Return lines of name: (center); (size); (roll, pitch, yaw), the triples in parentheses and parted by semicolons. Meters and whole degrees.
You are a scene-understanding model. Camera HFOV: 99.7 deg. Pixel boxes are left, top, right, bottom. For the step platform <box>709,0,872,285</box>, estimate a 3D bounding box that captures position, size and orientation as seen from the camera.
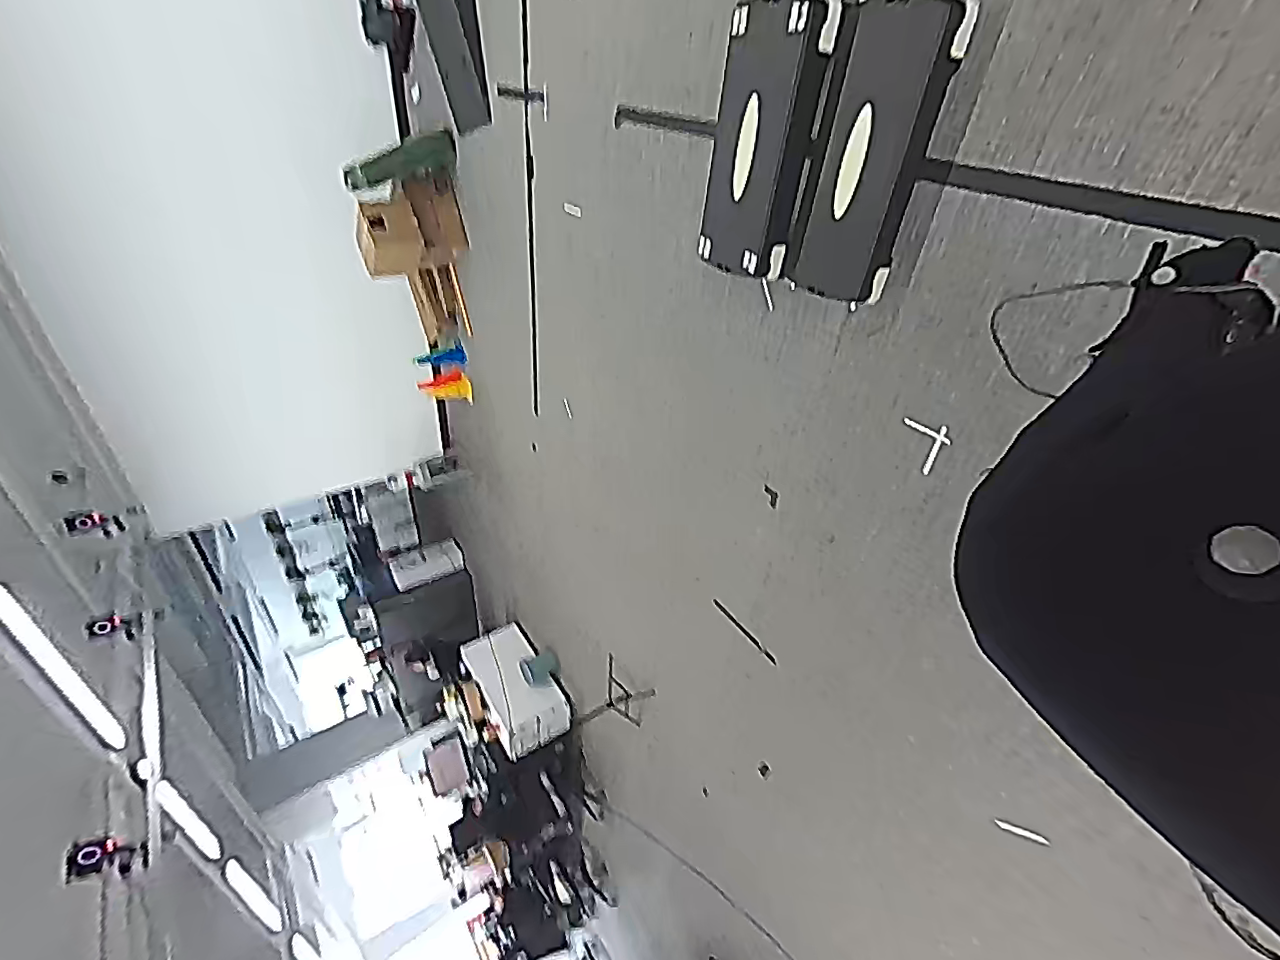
step platform: (0.397, -0.927, 1.546); (0.286, 0.204, 0.684); (40, 136, 39)
